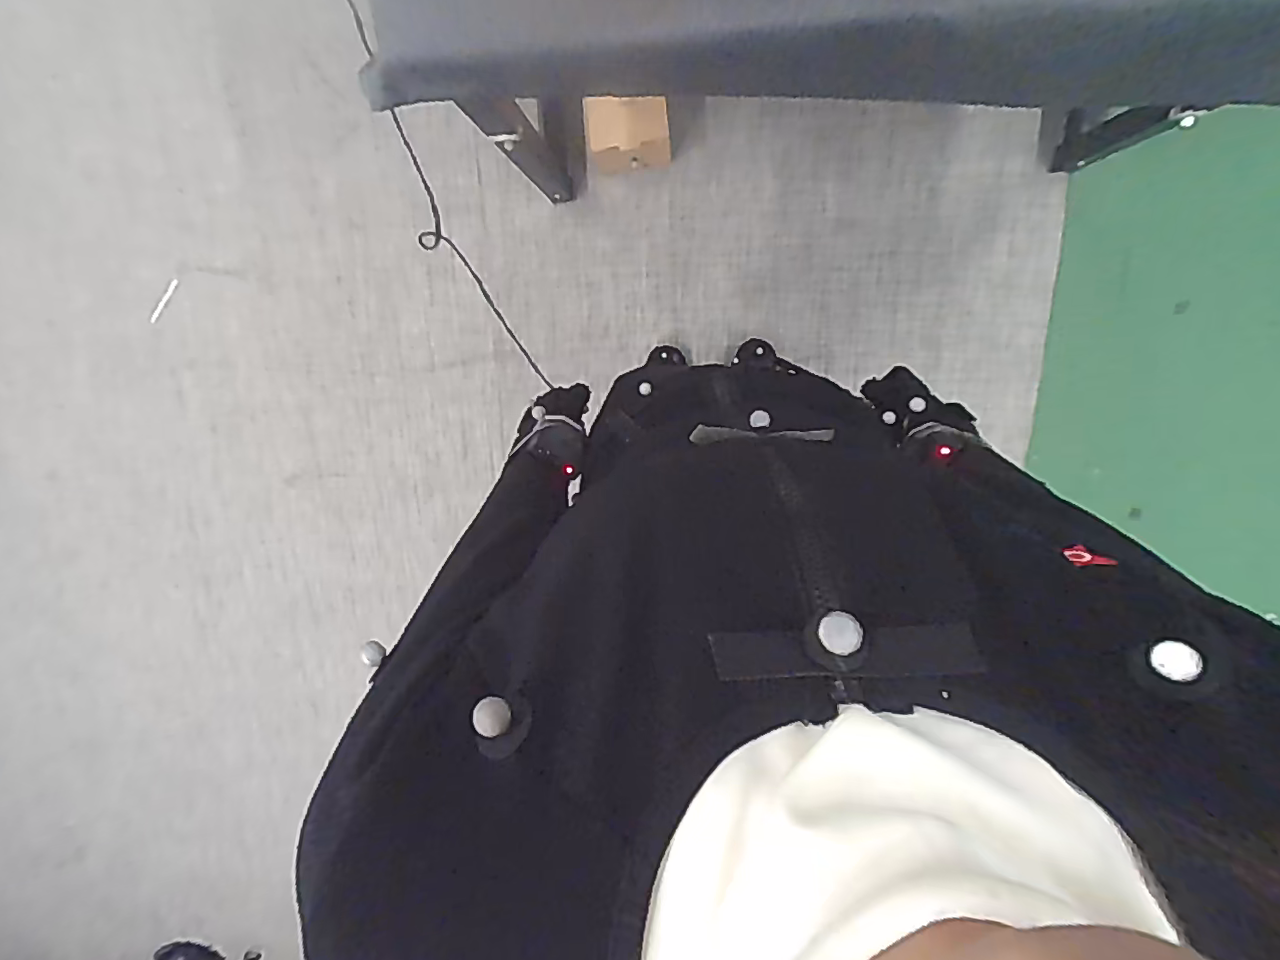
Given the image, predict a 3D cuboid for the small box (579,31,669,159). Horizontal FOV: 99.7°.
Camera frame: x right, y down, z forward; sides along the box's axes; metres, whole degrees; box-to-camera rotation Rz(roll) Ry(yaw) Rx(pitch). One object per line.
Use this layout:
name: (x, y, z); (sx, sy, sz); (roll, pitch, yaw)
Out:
small box: (-0.027, -0.810, 1.160); (0.168, 0.176, 0.179); (-5, 105, 5)
